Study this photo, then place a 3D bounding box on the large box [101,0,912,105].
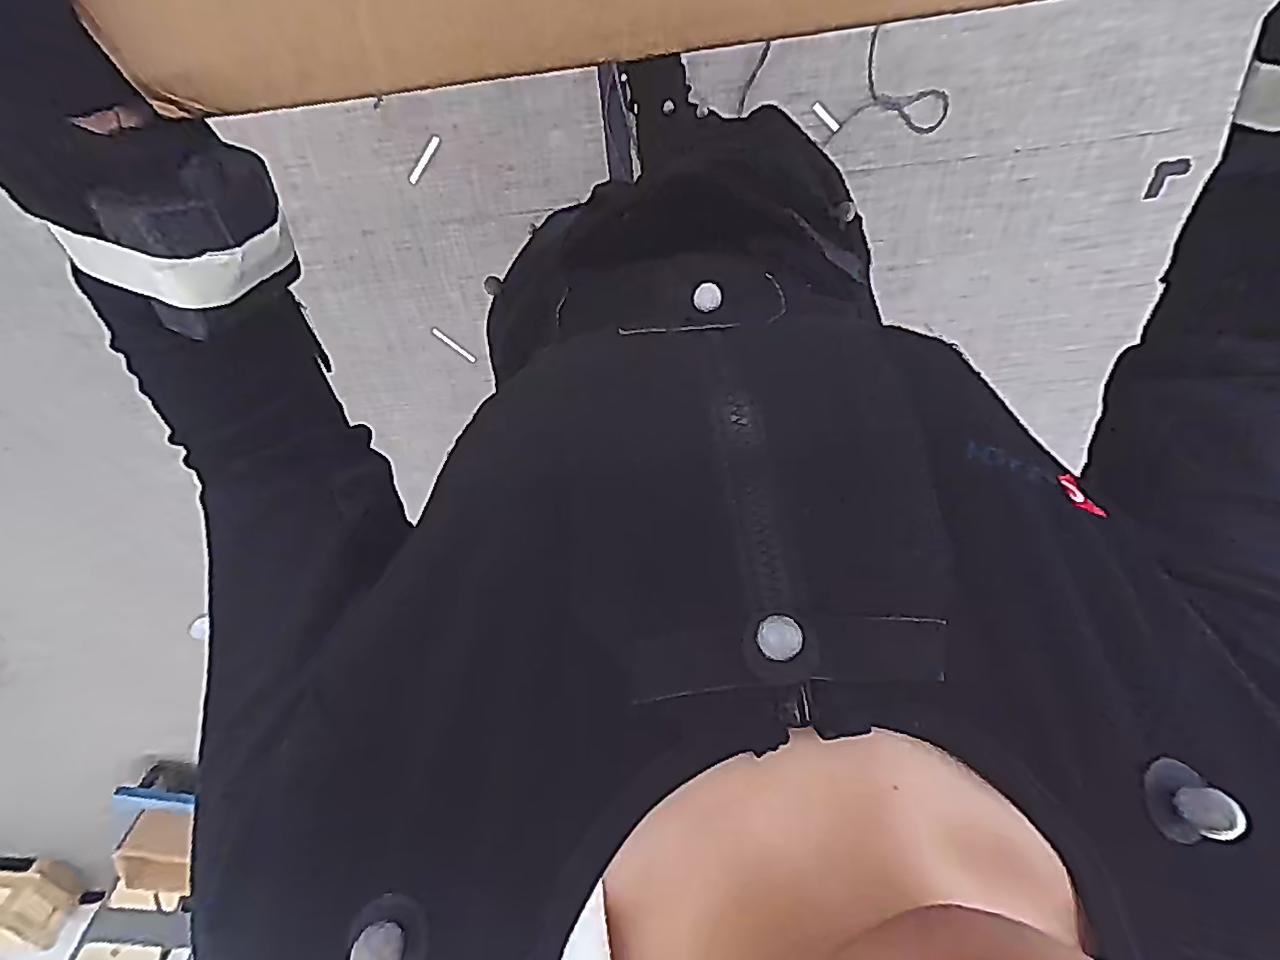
[{"bbox_3d":[0.001,-0.366,0.136,0.408,0.320,0.320,-7,149,1],"label":"large box"}]
